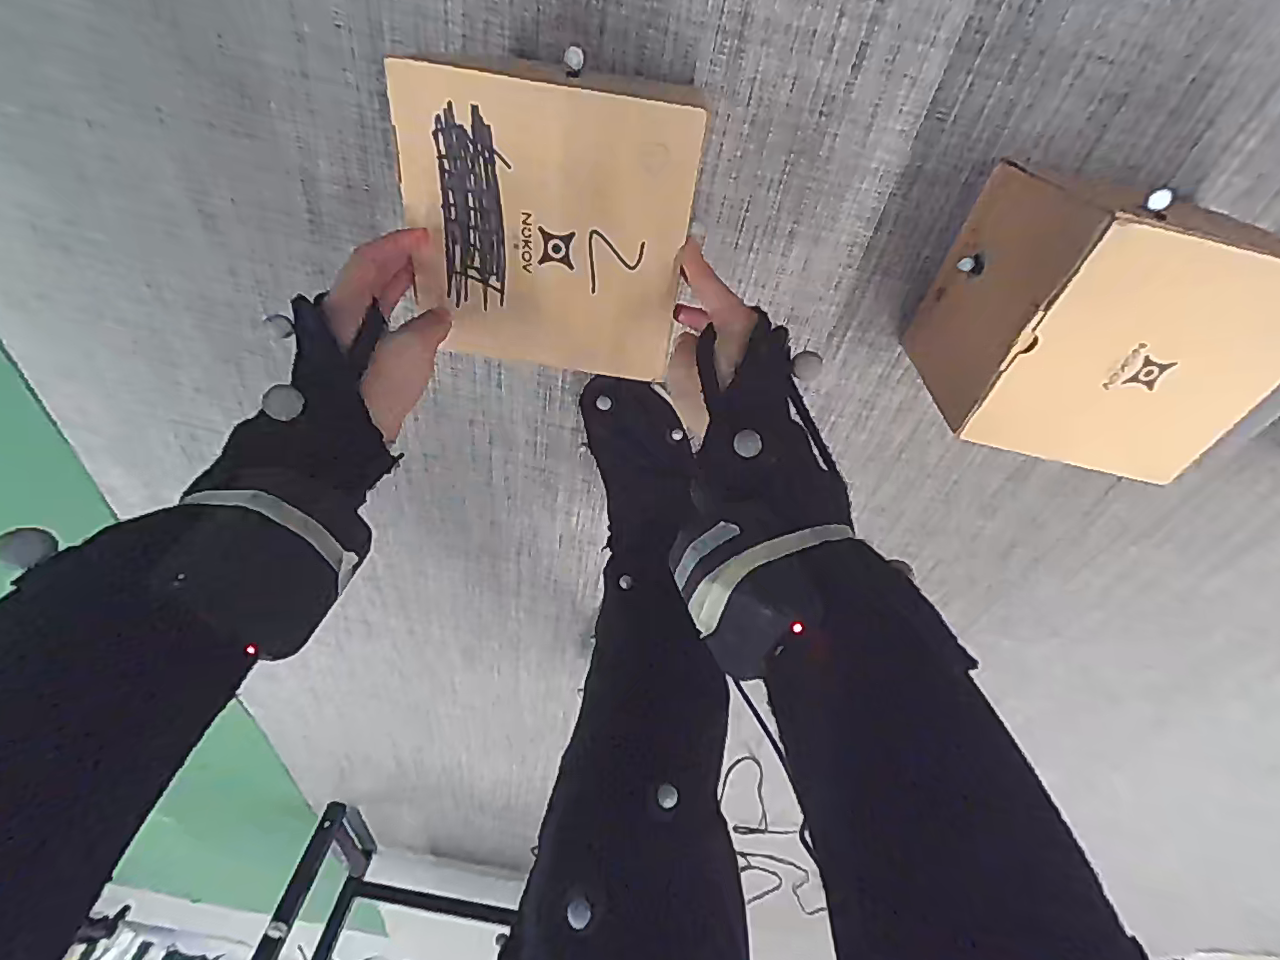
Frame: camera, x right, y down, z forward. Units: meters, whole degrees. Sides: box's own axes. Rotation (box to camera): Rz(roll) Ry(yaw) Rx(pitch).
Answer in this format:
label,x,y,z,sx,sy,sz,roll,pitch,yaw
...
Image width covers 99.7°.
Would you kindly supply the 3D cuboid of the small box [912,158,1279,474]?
label,x,y,z,sx,sy,sz,roll,pitch,yaw
small box,0.354,-0.133,0.427,0.179,0.176,0.168,13,131,-2
